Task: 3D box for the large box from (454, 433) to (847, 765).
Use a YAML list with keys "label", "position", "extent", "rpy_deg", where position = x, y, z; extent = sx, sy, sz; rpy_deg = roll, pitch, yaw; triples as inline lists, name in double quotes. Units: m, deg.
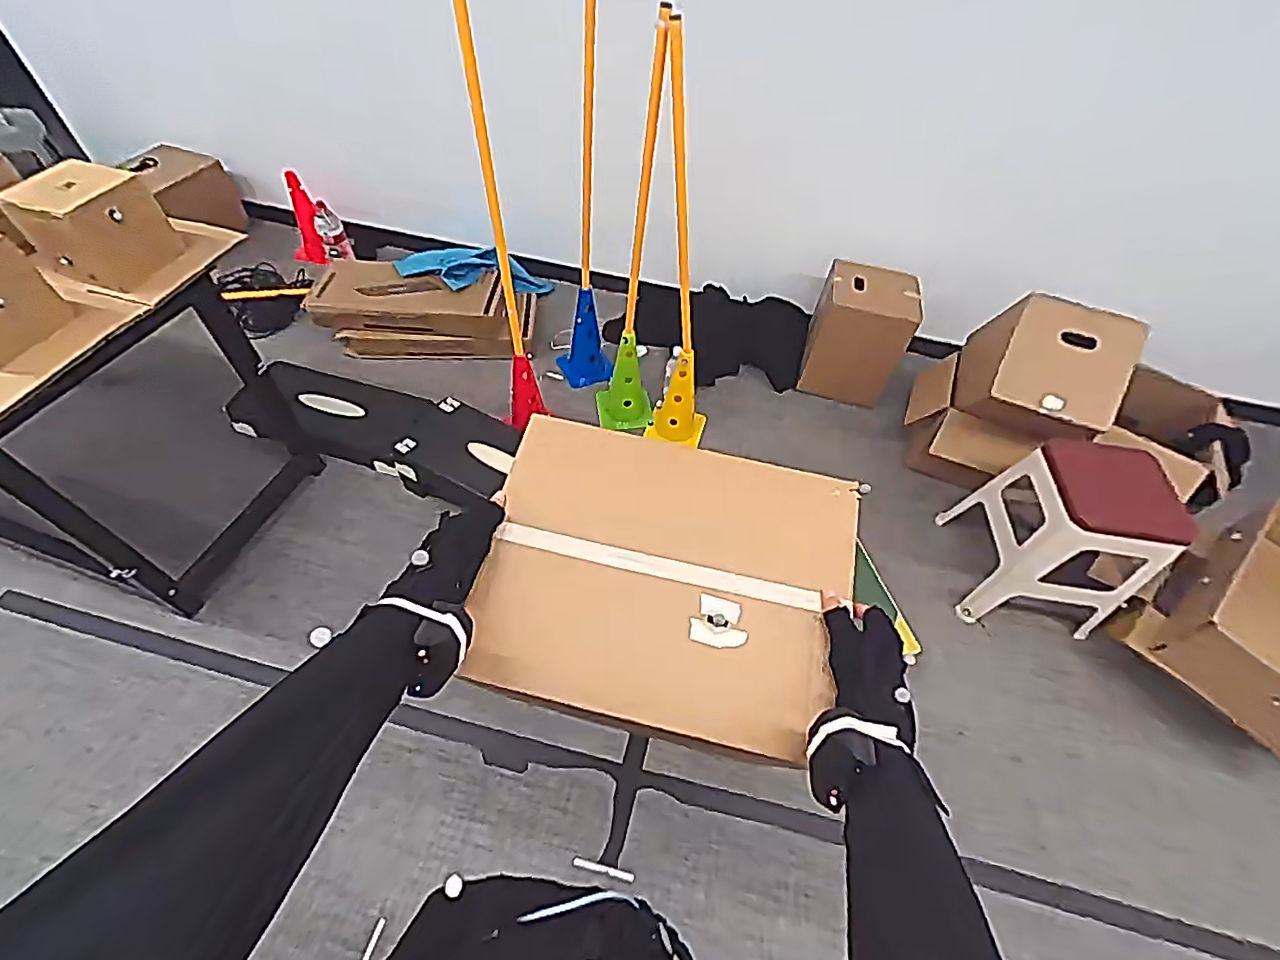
- label: "large box"
  position: [0.022, 0.176, 0.744]
  extent: [0.408, 0.320, 0.320]
  rpy_deg: [13, 65, 4]
